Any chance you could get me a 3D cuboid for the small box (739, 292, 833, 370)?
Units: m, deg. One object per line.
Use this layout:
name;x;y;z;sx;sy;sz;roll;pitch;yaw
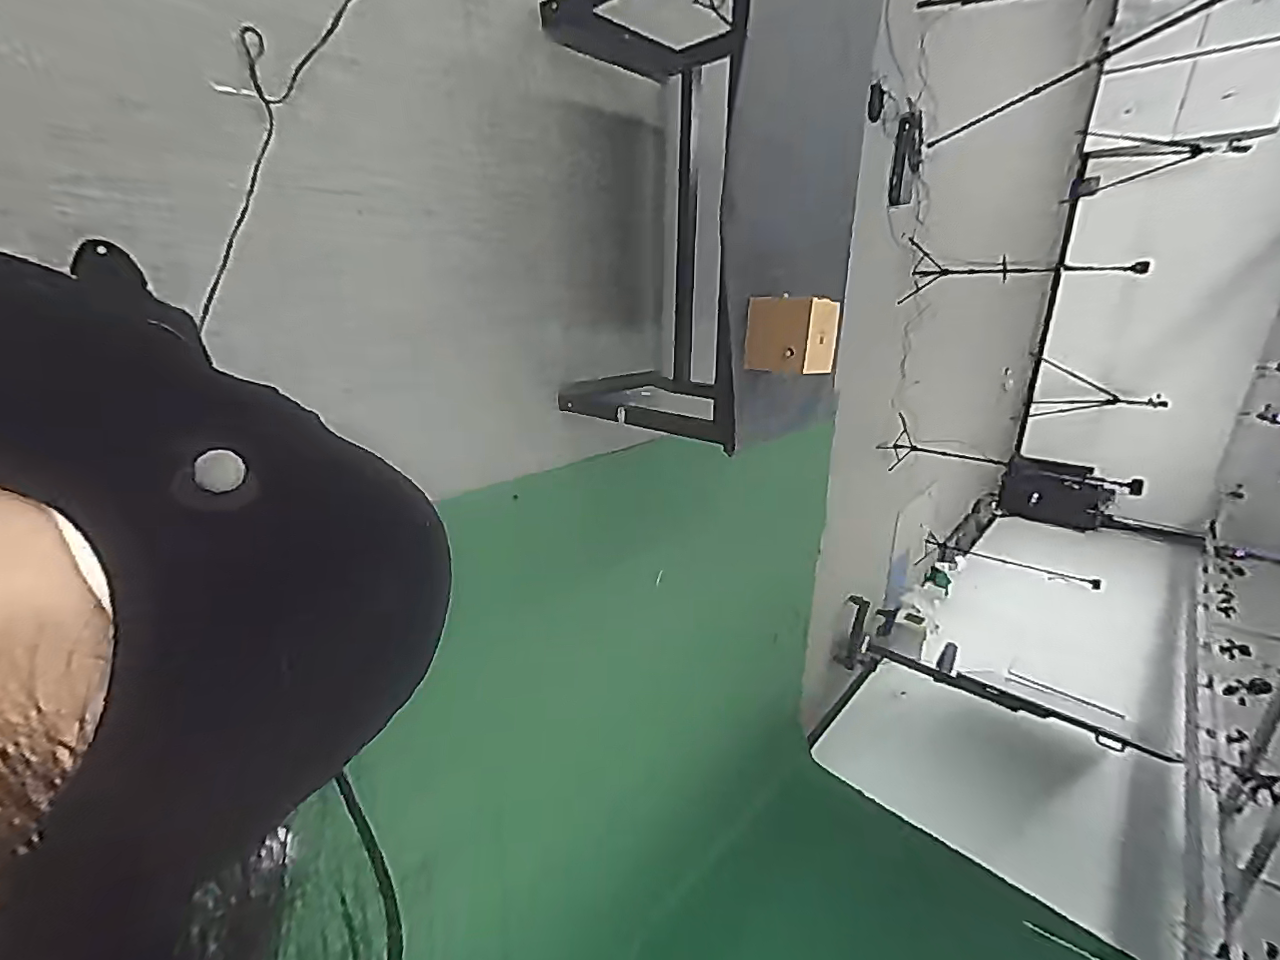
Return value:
small box;0.364;-0.373;1.362;0.168;0.176;0.179;-14;112;-48
